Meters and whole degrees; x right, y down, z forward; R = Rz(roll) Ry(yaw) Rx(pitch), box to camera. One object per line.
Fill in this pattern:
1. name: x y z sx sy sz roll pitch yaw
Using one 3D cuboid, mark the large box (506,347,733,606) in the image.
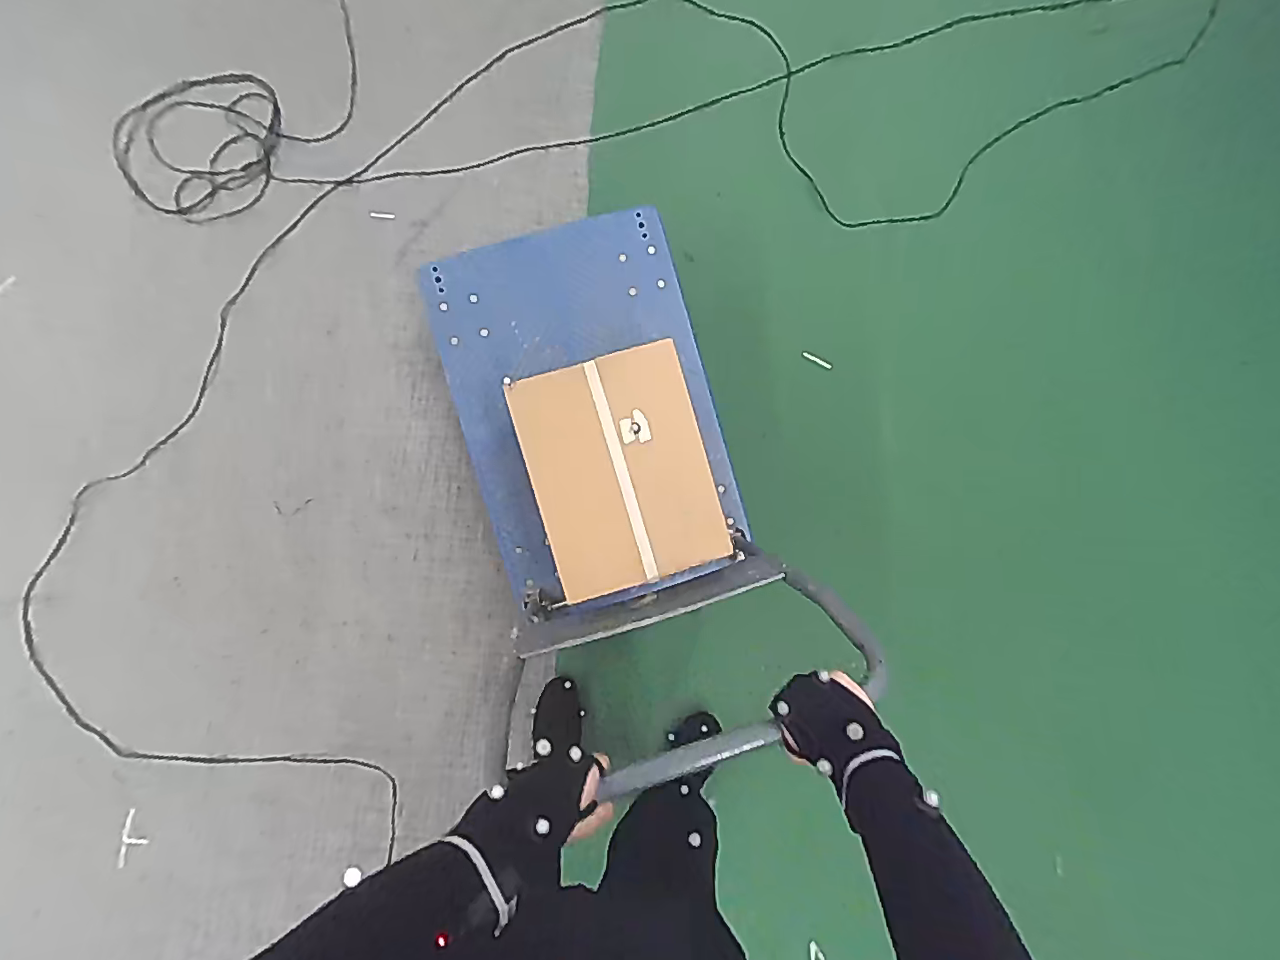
1. large box: -0.041 -0.007 1.110 0.320 0.320 0.408 -17 92 -4
